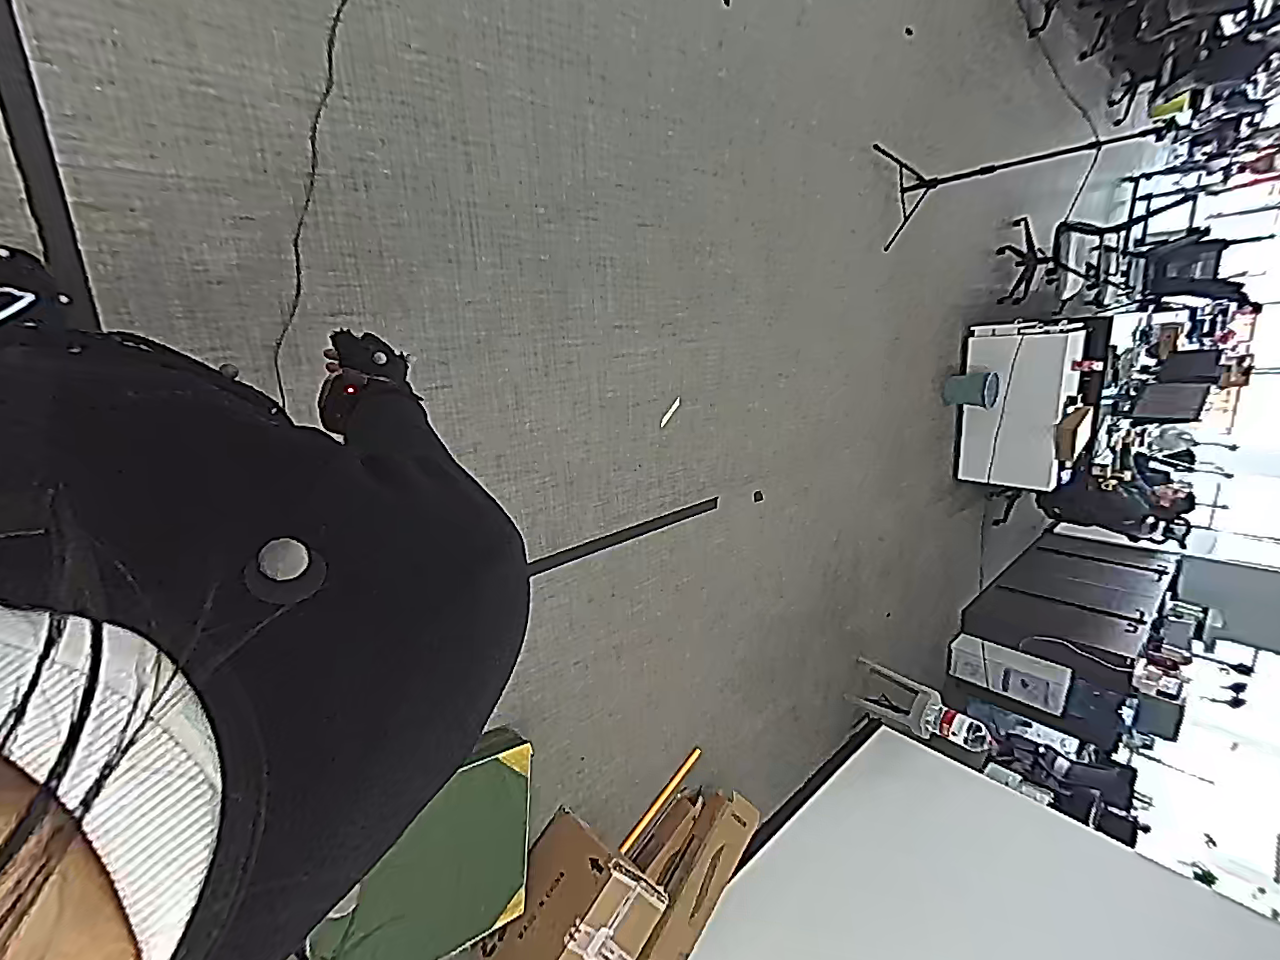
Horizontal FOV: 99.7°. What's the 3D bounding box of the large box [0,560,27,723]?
[{"bbox_3d":[-0.941,0.117,0.544,0.320,0.408,0.320,-27,144,-35],"label":"large box"}]
